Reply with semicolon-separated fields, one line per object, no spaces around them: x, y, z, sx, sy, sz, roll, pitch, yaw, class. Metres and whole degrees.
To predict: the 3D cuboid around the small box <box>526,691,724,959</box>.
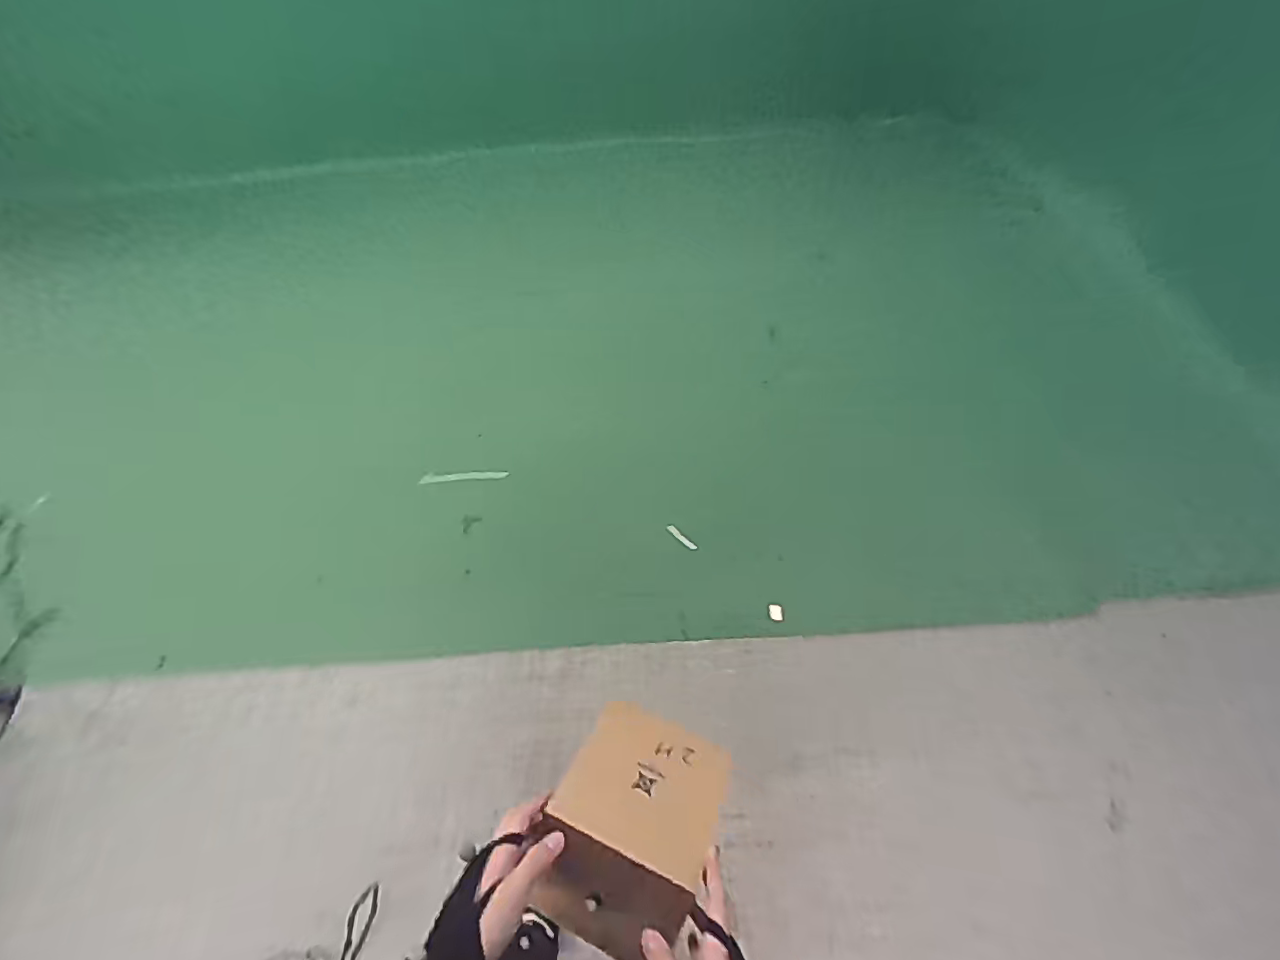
-0.018;0.394;0.628;0.168;0.176;0.179;20;25;14;small box
